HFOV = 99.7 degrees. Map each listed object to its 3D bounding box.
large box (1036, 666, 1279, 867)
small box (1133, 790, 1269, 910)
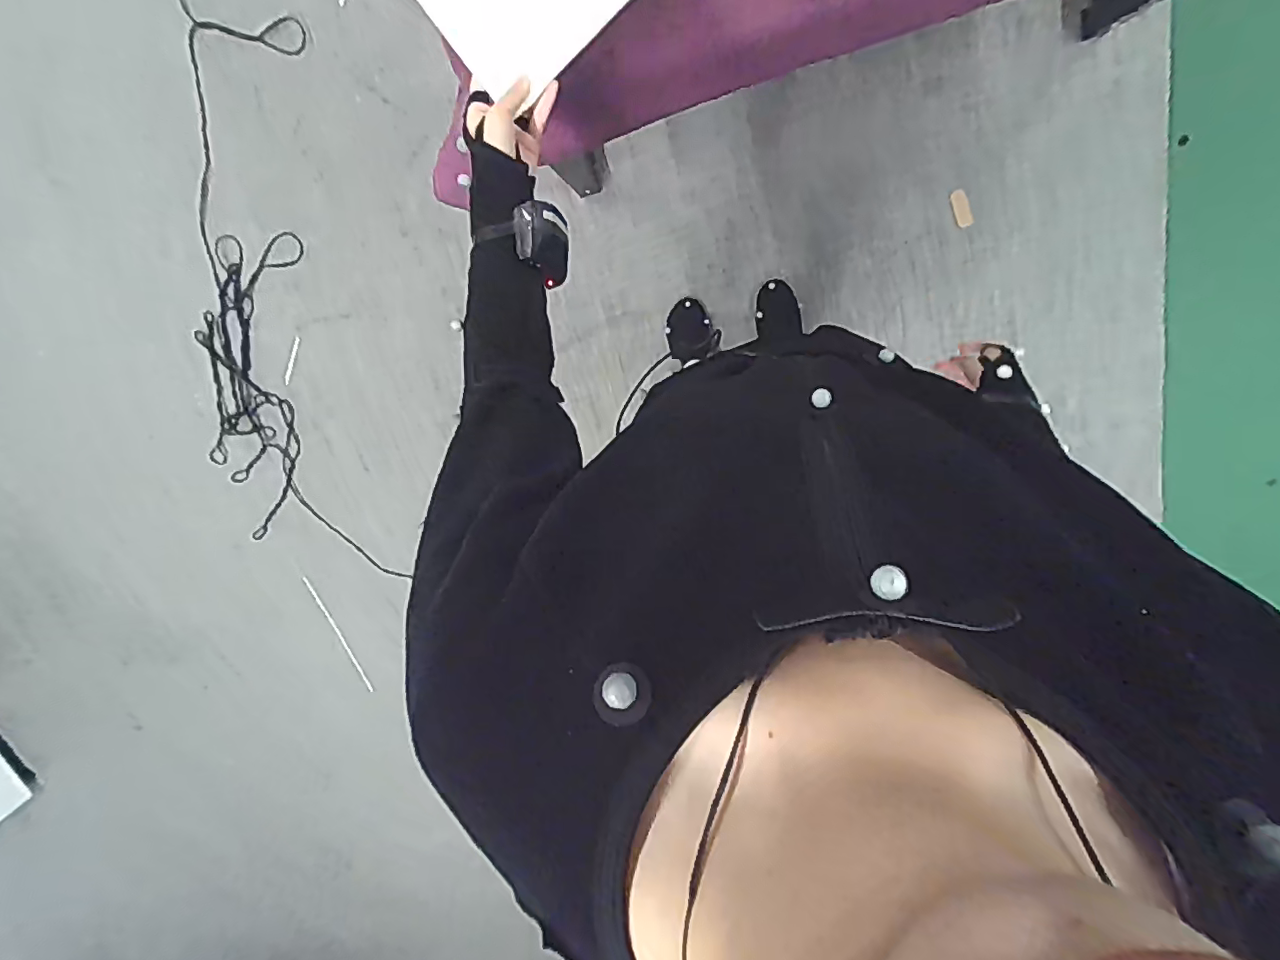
[{"bbox_3d":[1.500,0.826,1.587,0.408,0.320,0.320,-29,106,11],"label":"large box"},{"bbox_3d":[1.403,0.930,1.368,0.179,0.176,0.168,-24,105,12],"label":"small box"}]
